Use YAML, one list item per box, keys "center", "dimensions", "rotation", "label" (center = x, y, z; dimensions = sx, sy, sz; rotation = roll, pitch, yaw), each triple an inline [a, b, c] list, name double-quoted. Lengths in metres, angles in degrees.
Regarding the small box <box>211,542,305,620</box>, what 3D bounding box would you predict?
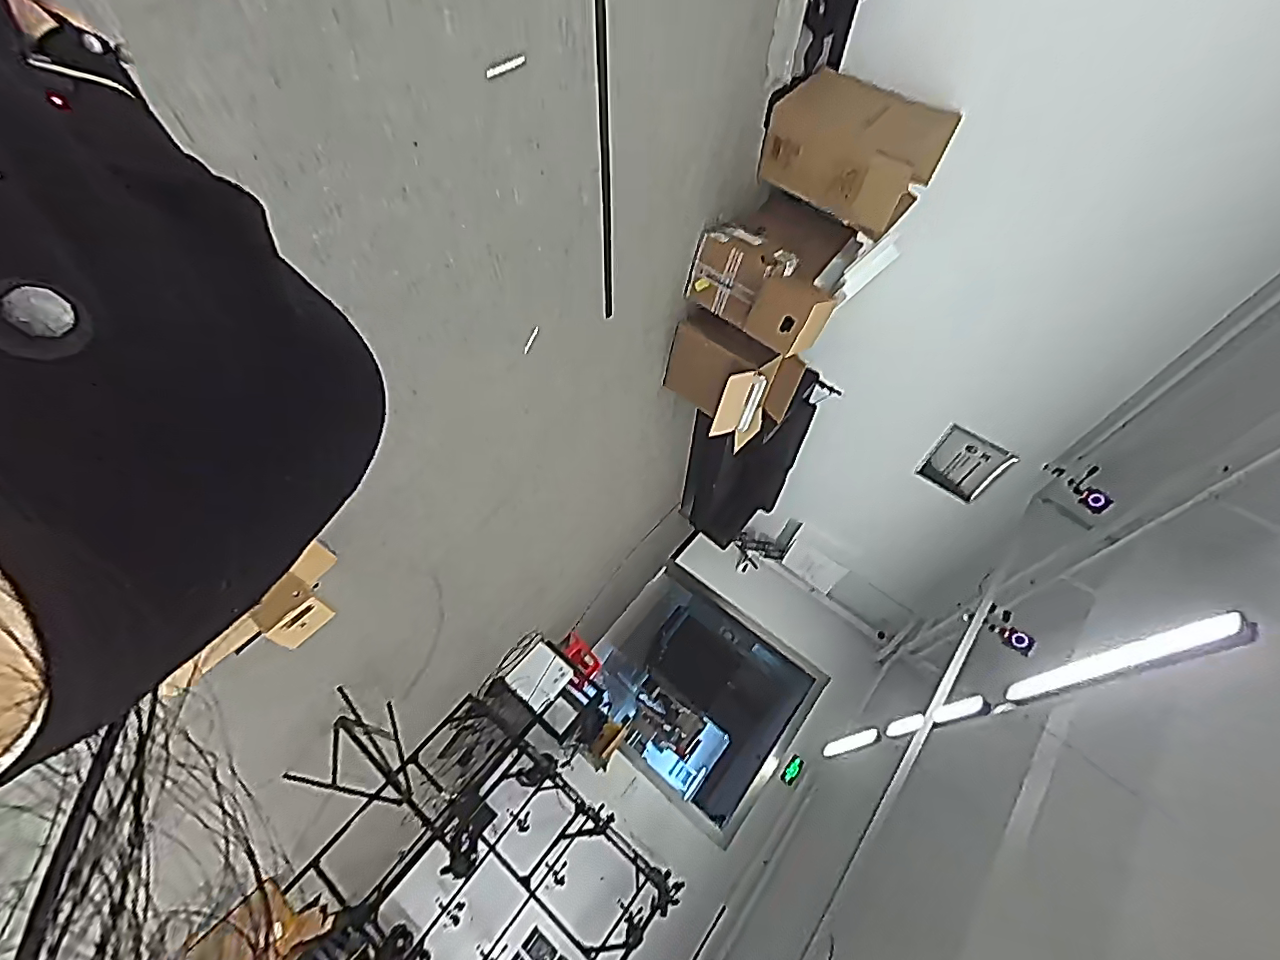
- center: [-1.290, 0.334, 1.827]
  dimensions: [0.168, 0.176, 0.179]
  rotation: [-43, 159, -27]
  label: "small box"
